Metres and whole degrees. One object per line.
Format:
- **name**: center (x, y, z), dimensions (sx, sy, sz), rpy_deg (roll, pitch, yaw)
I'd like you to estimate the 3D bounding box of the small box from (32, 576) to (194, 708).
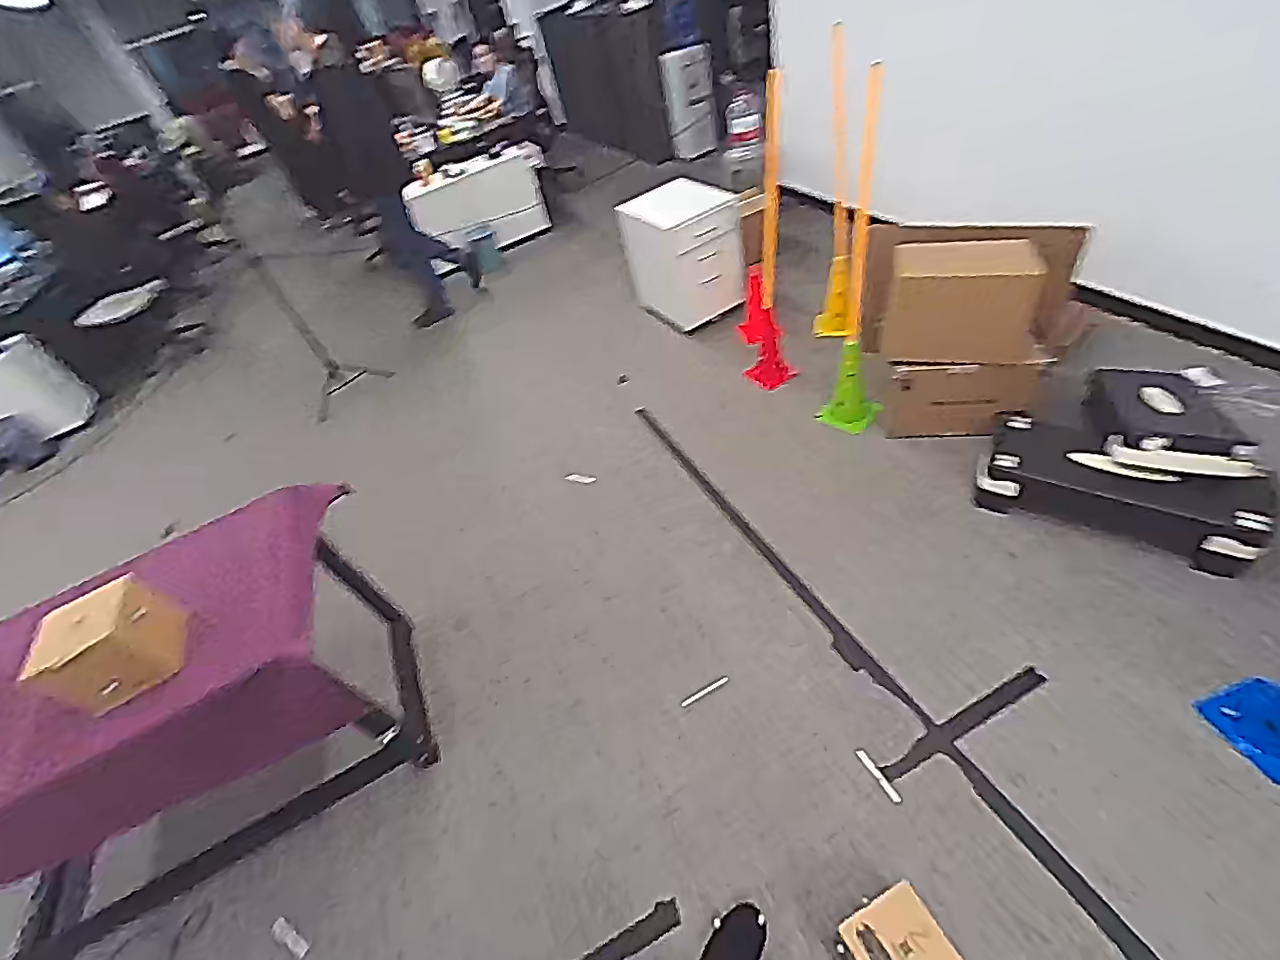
- **small box**: center (-1.103, 0.347, 1.153), dimensions (0.168, 0.176, 0.179), rpy_deg (-29, 45, -11)
